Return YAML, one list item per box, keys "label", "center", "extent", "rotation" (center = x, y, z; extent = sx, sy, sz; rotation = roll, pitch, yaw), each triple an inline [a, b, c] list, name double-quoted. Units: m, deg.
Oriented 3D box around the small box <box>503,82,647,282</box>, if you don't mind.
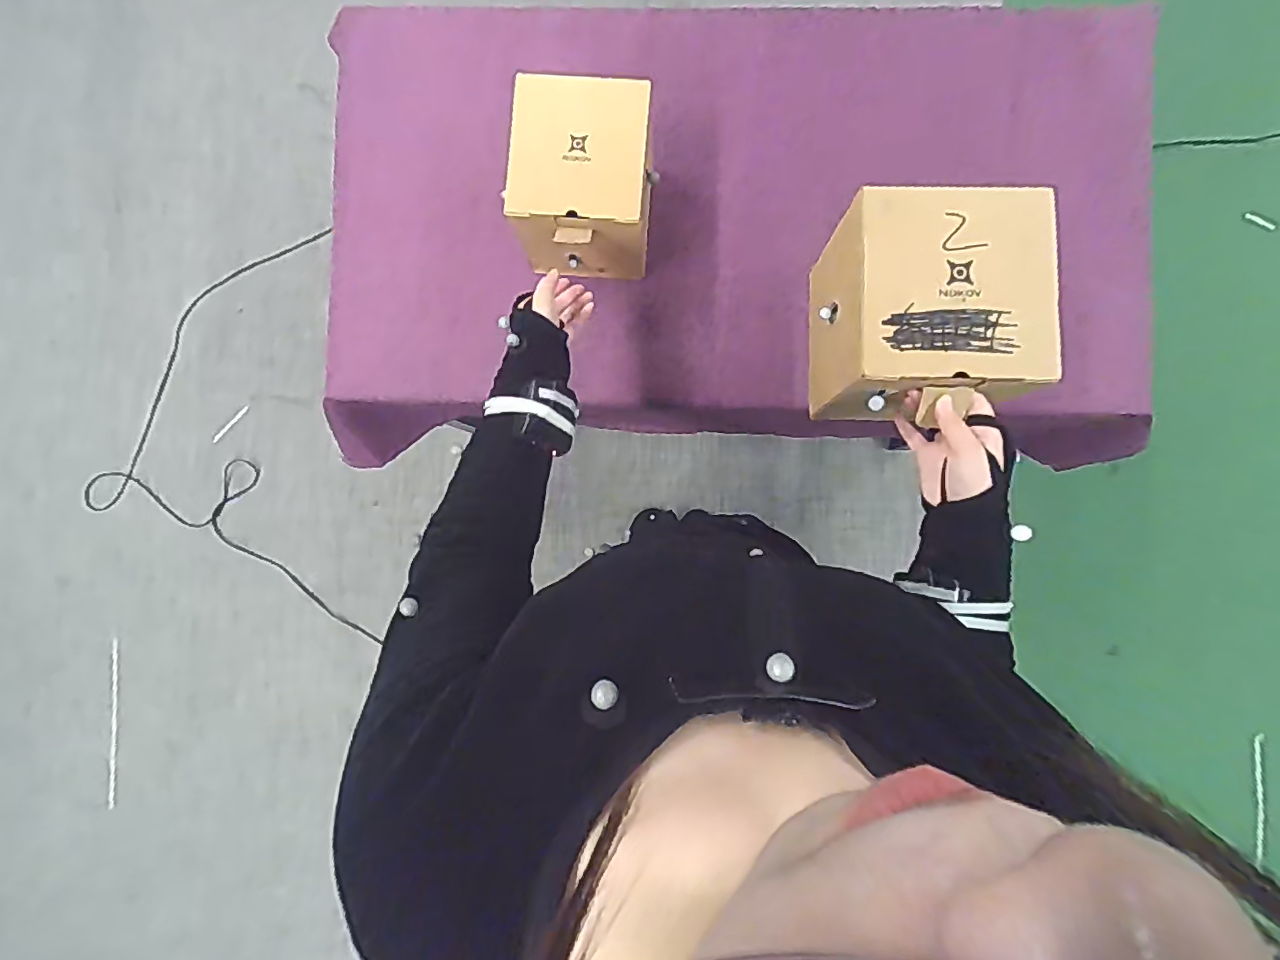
- label: "small box"
  center: [-0.079, -0.395, 0.742]
  extent: [0.168, 0.176, 0.179]
  rotation: [4, 88, 2]
